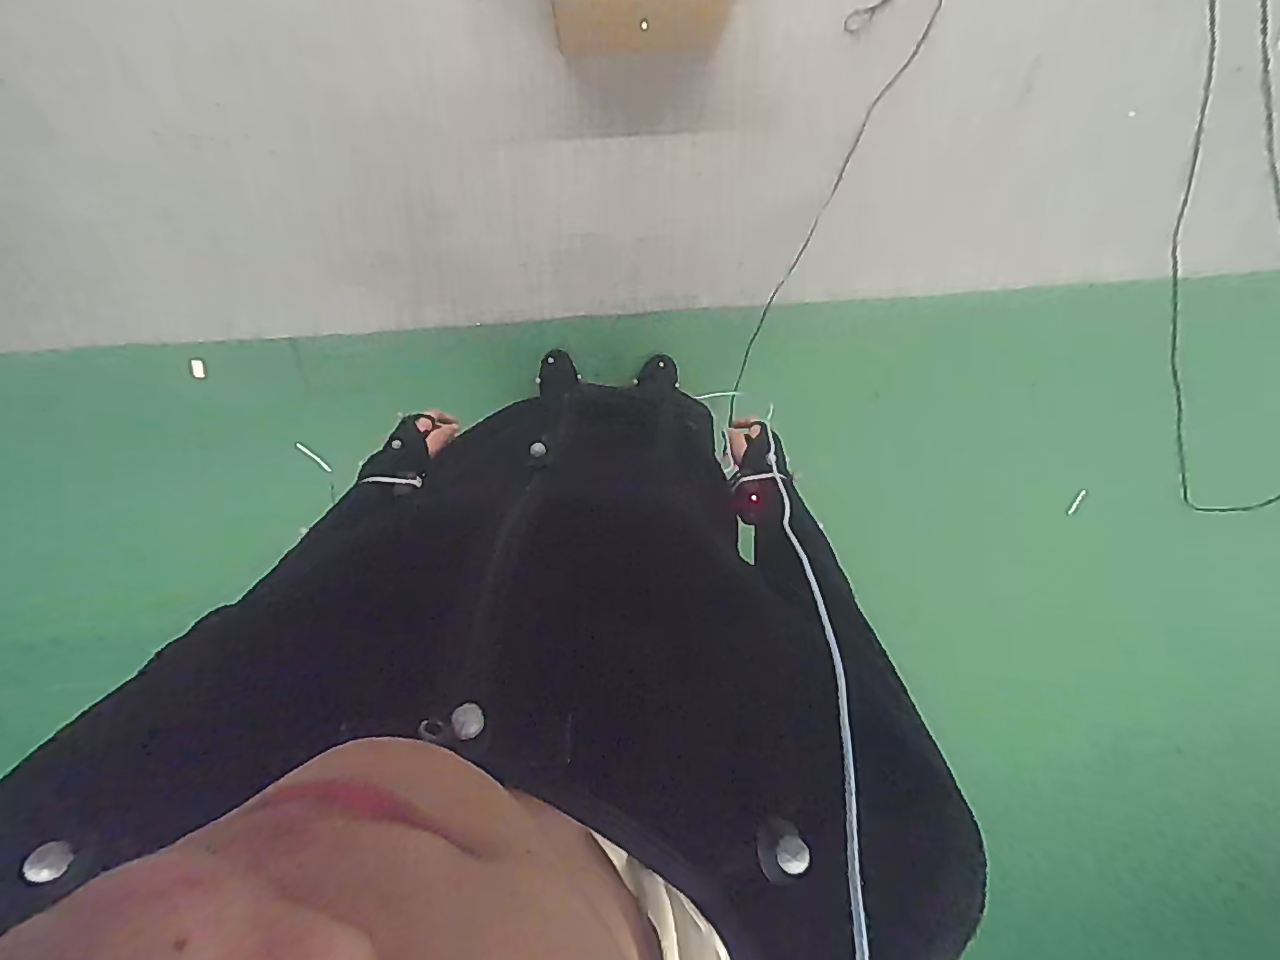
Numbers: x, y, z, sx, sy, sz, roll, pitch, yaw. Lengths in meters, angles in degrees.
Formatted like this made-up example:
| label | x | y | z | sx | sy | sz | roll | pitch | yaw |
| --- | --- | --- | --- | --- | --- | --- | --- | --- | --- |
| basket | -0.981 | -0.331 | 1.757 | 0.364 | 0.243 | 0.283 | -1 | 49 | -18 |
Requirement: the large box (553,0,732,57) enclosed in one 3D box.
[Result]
| label | x | y | z | sx | sy | sz | roll | pitch | yaw |
| --- | --- | --- | --- | --- | --- | --- | --- | --- | --- |
| large box | -0.005 | -1.214 | 1.213 | 0.408 | 0.320 | 0.320 | -6 | 104 | -1 |
